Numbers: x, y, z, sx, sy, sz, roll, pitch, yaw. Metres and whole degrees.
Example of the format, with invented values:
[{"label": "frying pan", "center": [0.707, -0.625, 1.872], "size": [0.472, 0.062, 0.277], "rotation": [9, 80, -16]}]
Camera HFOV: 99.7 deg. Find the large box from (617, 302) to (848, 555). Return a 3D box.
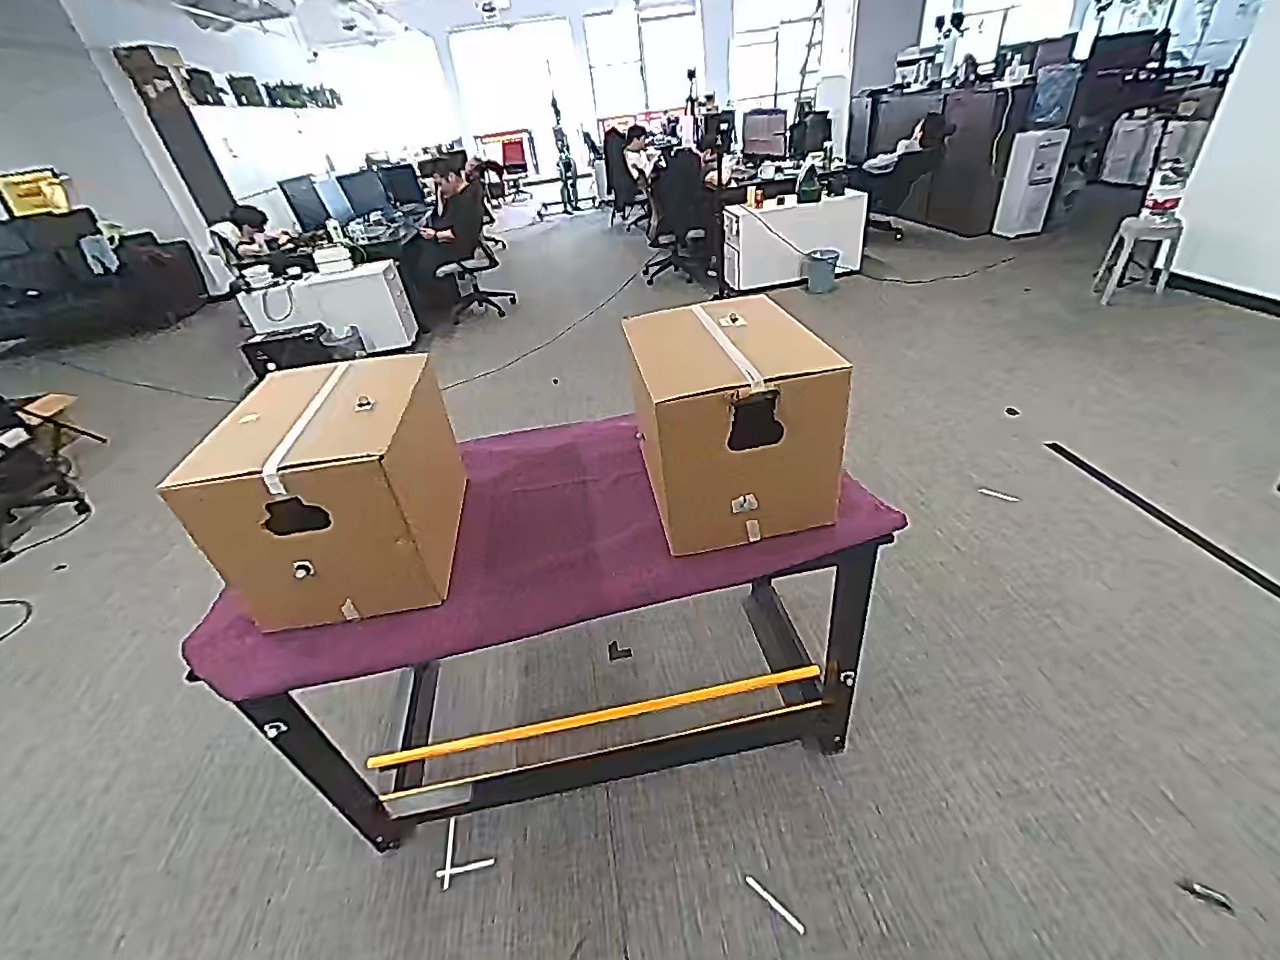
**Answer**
[{"label": "large box", "center": [0.156, -0.118, 1.049], "size": [0.320, 0.320, 0.408], "rotation": [-11, 34, -4]}]
